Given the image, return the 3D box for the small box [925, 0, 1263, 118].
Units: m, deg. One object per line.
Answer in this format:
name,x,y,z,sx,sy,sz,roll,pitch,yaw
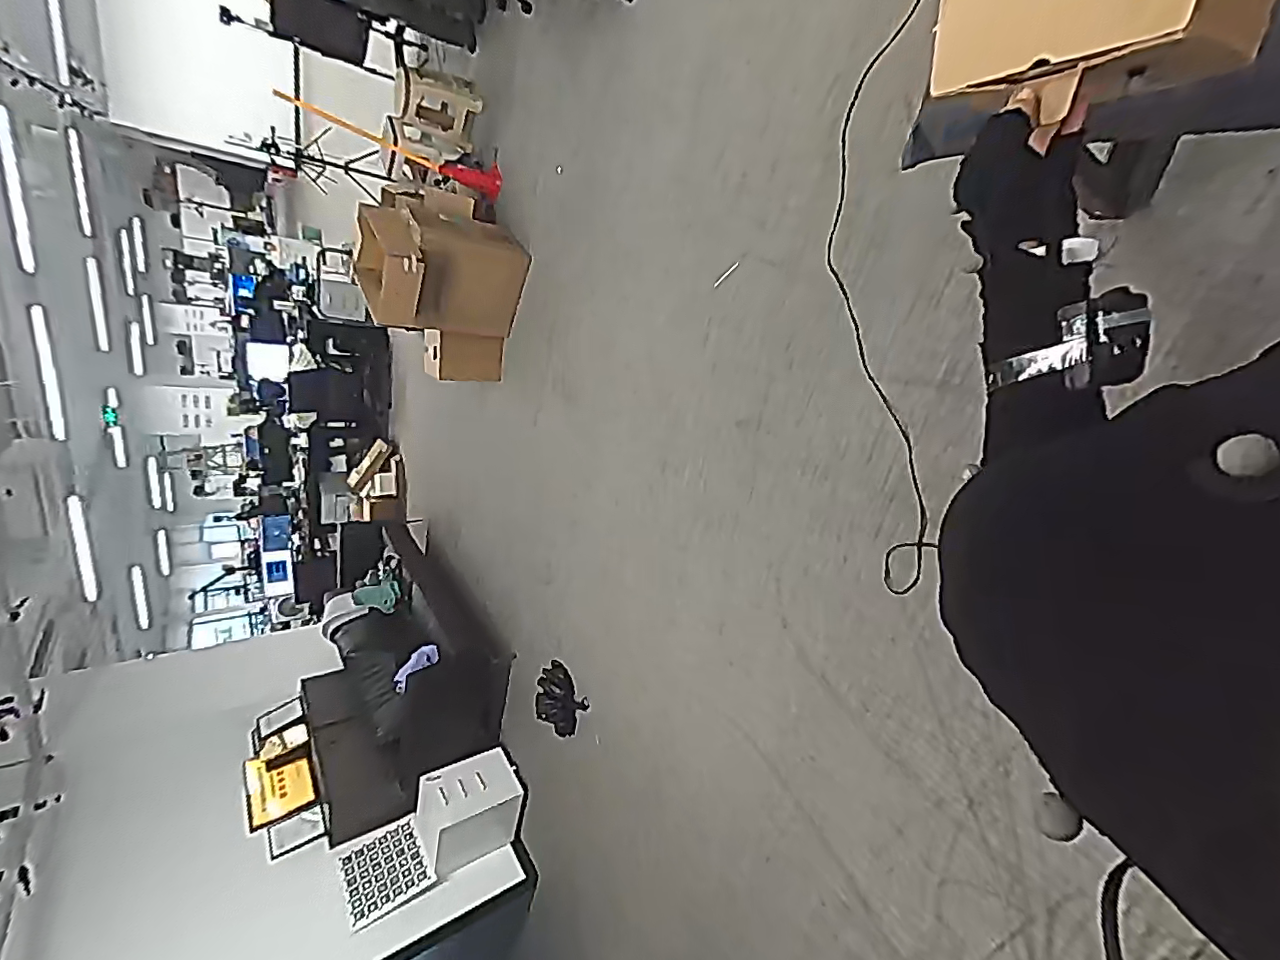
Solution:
small box,0.348,-0.390,0.406,0.168,0.176,0.179,25,125,49
